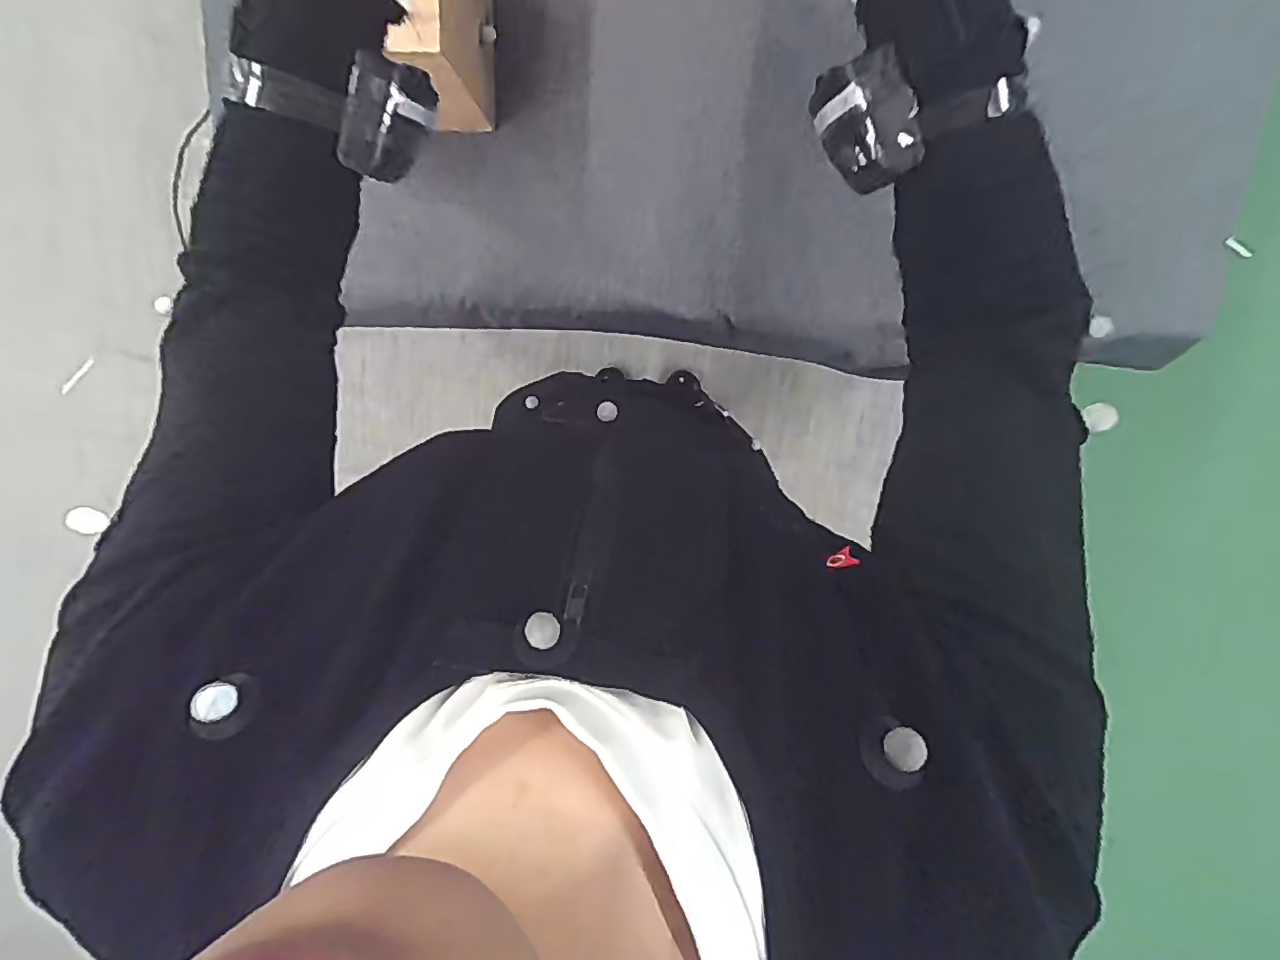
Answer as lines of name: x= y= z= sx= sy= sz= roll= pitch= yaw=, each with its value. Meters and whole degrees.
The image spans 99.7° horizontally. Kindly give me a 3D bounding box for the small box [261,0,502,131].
small box: x=-0.254 y=-0.486 z=0.559 sx=0.179 sy=0.176 sz=0.168 roll=3 pitch=102 yaw=1
